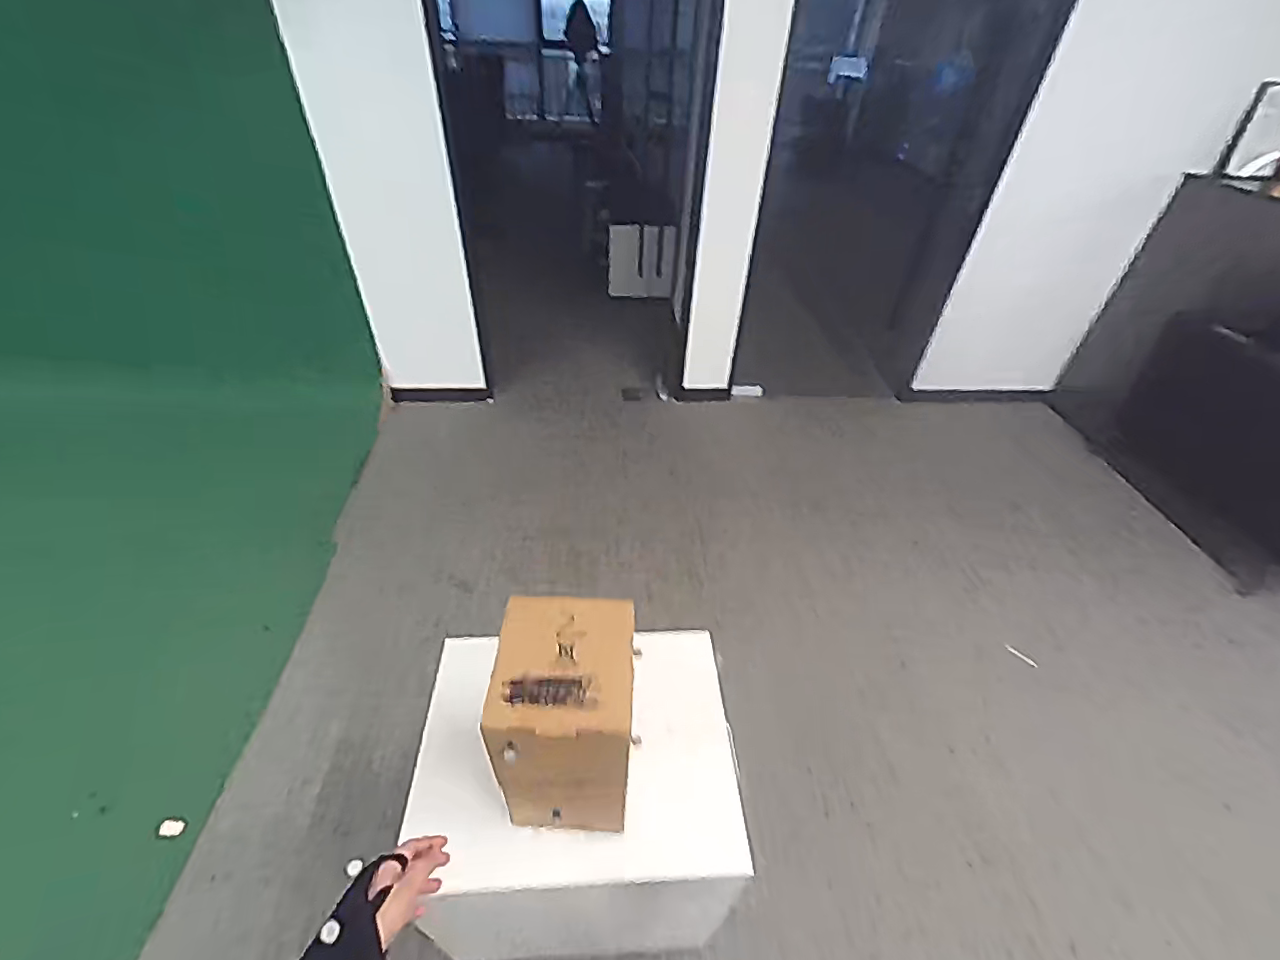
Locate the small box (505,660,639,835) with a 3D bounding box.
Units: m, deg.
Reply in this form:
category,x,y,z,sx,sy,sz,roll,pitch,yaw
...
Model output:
category,x,y,z,sx,sy,sz,roll,pitch,yaw
small box,-0.093,0.395,0.804,0.168,0.176,0.179,4,40,0
